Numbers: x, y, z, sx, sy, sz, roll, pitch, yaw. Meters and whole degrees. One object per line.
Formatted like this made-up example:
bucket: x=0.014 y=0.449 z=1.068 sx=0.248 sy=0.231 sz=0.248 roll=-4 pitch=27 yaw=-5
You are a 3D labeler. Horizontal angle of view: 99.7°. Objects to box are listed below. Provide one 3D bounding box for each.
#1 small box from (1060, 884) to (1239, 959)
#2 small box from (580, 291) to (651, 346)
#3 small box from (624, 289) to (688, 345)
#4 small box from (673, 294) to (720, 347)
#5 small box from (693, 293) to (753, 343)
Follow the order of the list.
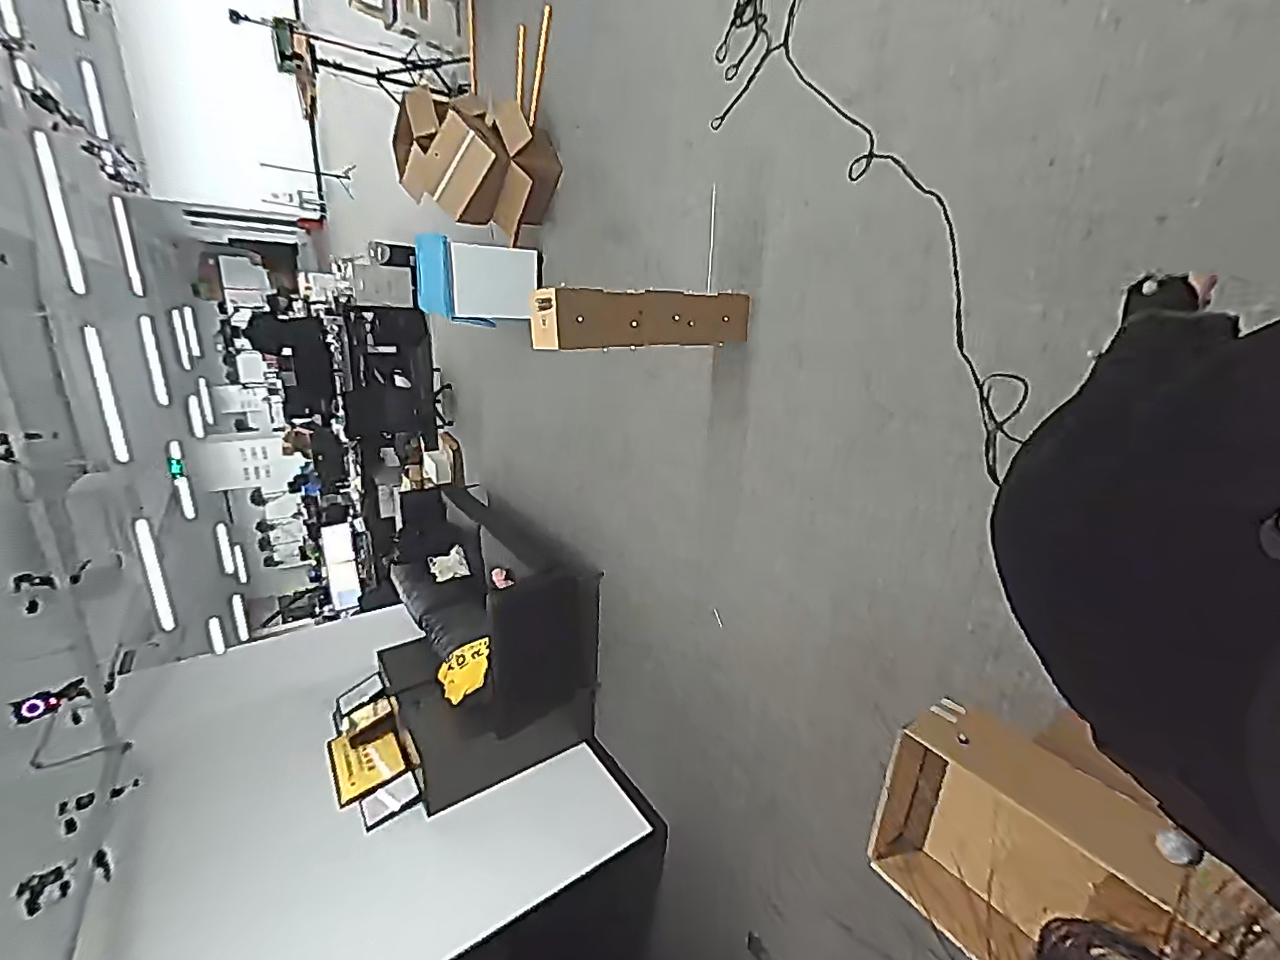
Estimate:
small box: x=0.821 y=0.808 z=0.877 sx=0.179 sy=0.176 sz=0.168 roll=29 pitch=121 yaw=50
small box: x=-0.081 y=-0.523 z=1.761 sx=0.179 sy=0.176 sz=0.168 roll=20 pitch=116 yaw=51
small box: x=0.050 y=-0.555 z=1.852 sx=0.168 sy=0.176 sz=0.179 roll=21 pitch=115 yaw=52
small box: x=0.175 y=-0.579 z=1.955 sx=0.168 sy=0.176 sz=0.179 roll=23 pitch=118 yaw=50
small box: x=0.310 y=-0.613 z=2.042 sx=0.168 sy=0.176 sz=0.179 roll=23 pitch=117 yaw=51
